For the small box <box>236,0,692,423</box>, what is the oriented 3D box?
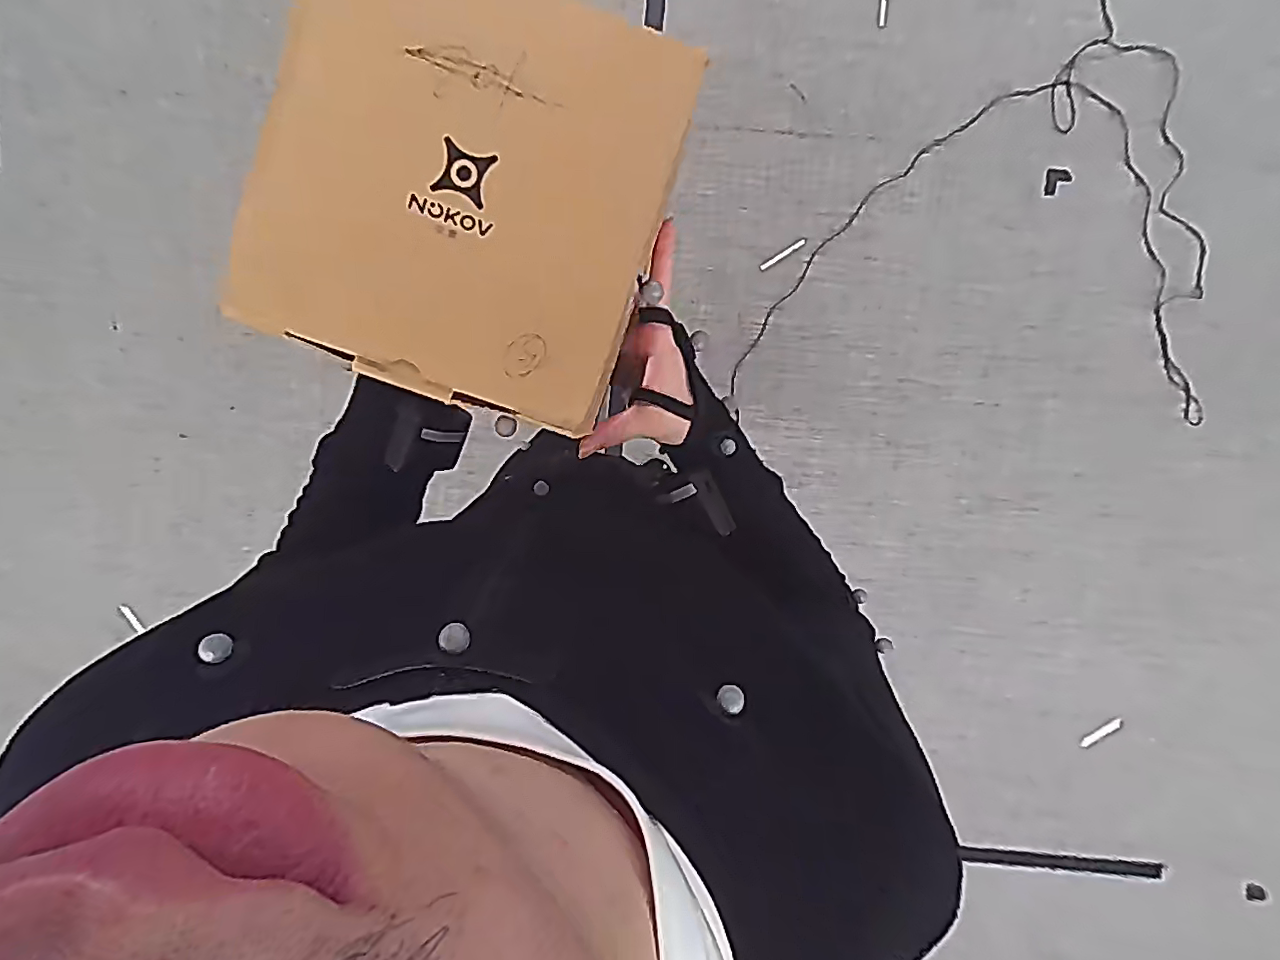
[{"bbox_3d":[-0.084,-0.141,0.323,0.168,0.176,0.179,19,93,-6],"label":"small box"}]
